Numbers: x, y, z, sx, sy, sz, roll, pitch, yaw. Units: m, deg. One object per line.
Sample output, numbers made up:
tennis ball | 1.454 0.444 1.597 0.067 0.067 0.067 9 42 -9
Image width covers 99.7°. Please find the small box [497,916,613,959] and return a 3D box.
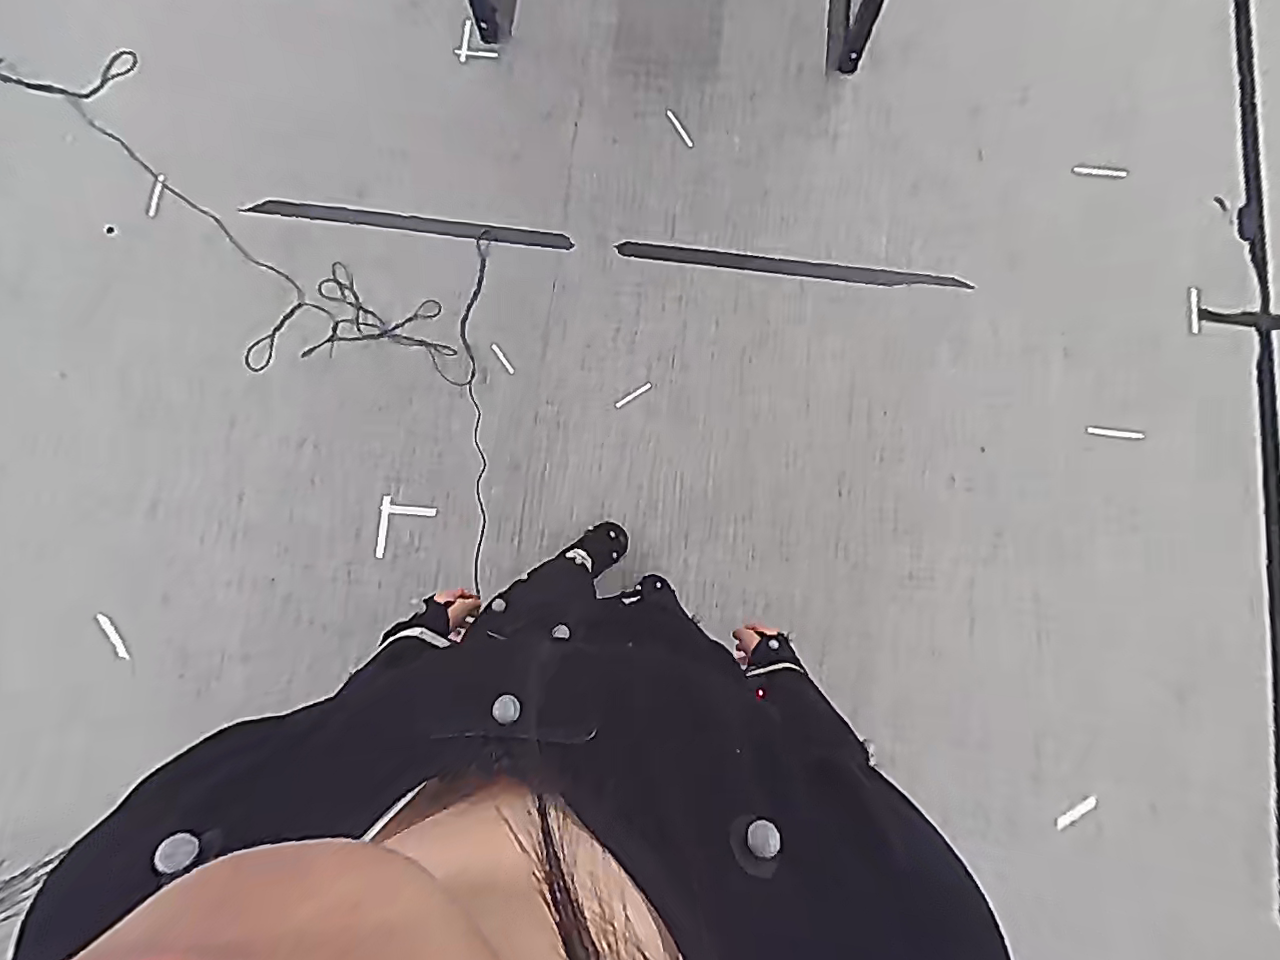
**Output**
small box | -0.134 0.752 0.738 0.168 0.176 0.179 11 83 3
